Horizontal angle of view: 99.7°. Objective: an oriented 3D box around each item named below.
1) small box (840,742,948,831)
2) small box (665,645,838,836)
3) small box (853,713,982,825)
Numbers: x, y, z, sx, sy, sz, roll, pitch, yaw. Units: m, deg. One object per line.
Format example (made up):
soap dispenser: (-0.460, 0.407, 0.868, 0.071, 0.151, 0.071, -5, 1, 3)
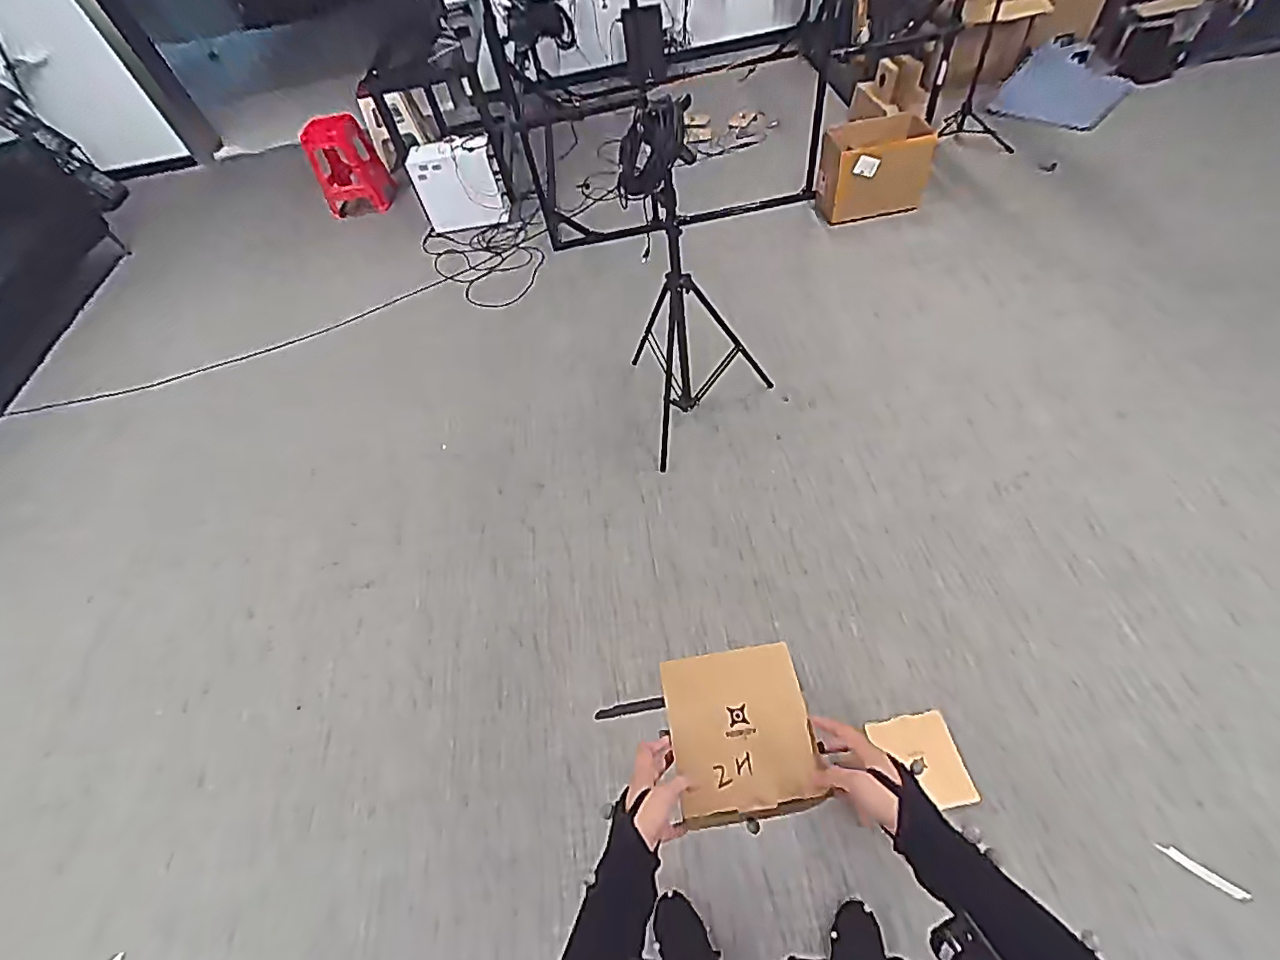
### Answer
small box: (0.594, 0.715, 1.279, 0.168, 0.176, 0.179, -13, 52, 0)
small box: (0.127, 0.333, 0.685, 0.168, 0.176, 0.179, -10, 54, 0)
small box: (0.576, 0.619, 1.149, 0.168, 0.176, 0.179, -12, 52, 0)
